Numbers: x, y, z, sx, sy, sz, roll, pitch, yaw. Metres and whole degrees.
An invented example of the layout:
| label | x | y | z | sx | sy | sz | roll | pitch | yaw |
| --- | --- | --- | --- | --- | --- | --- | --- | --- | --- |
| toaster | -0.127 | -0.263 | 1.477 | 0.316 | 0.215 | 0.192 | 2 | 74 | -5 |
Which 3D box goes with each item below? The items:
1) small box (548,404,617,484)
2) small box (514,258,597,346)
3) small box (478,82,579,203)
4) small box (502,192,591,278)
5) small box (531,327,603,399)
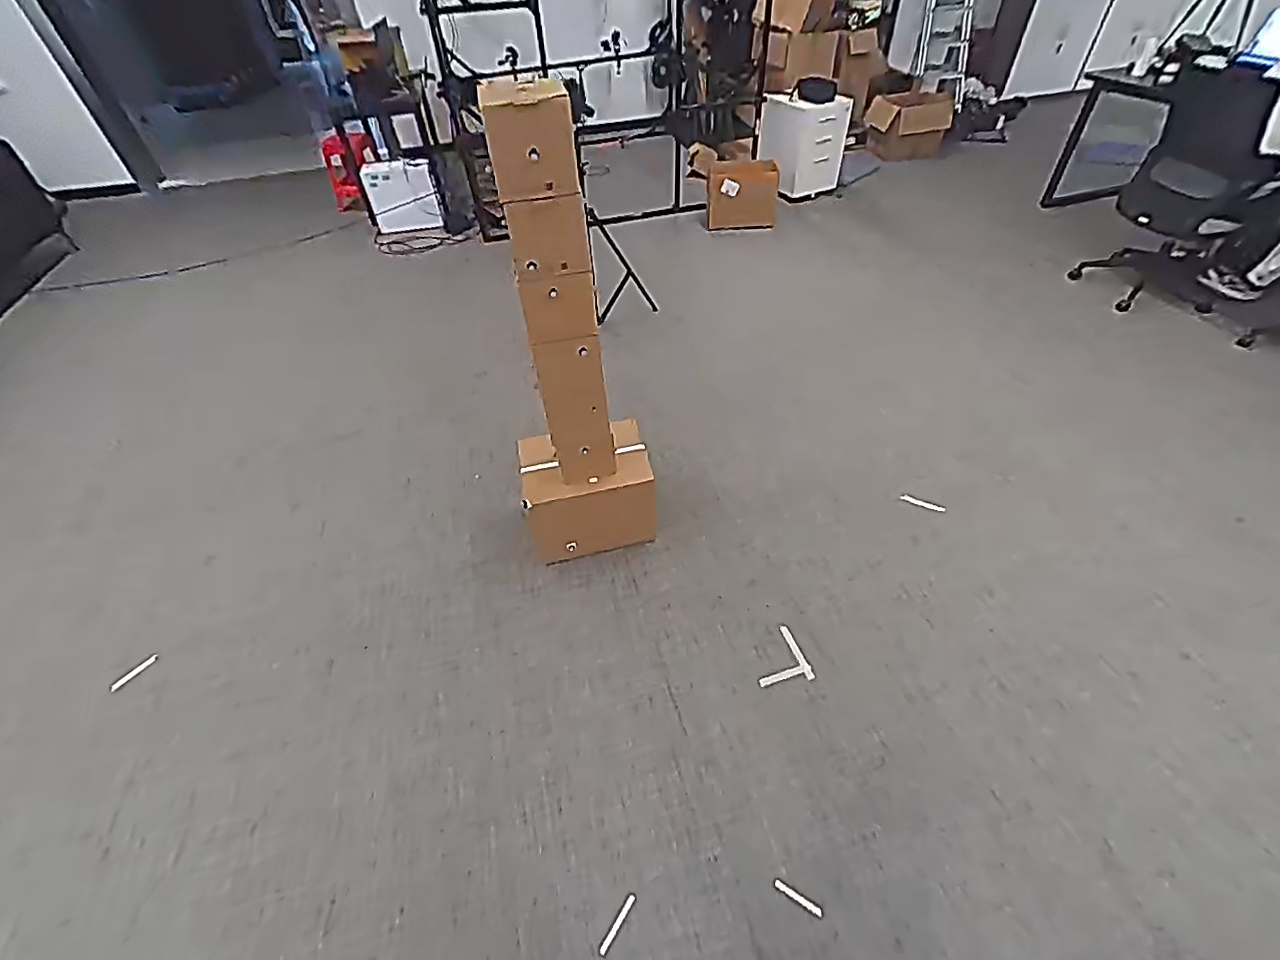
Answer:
| label | x | y | z | sx | sy | sz | roll | pitch | yaw |
| --- | --- | --- | --- | --- | --- | --- | --- | --- | --- |
| small box | -0.178 | -0.110 | 1.684 | 0.179 | 0.176 | 0.168 | -13 | 47 | -10 |
| small box | -0.204 | -0.452 | 1.334 | 0.179 | 0.176 | 0.168 | -11 | 47 | -6 |
| small box | -0.224 | -0.678 | 1.096 | 0.168 | 0.176 | 0.179 | -12 | 48 | -7 |
| small box | -0.210 | -0.567 | 1.217 | 0.168 | 0.176 | 0.179 | -11 | 46 | -6 |
| small box | -0.196 | -0.339 | 1.449 | 0.179 | 0.176 | 0.168 | -11 | 46 | -7 |
